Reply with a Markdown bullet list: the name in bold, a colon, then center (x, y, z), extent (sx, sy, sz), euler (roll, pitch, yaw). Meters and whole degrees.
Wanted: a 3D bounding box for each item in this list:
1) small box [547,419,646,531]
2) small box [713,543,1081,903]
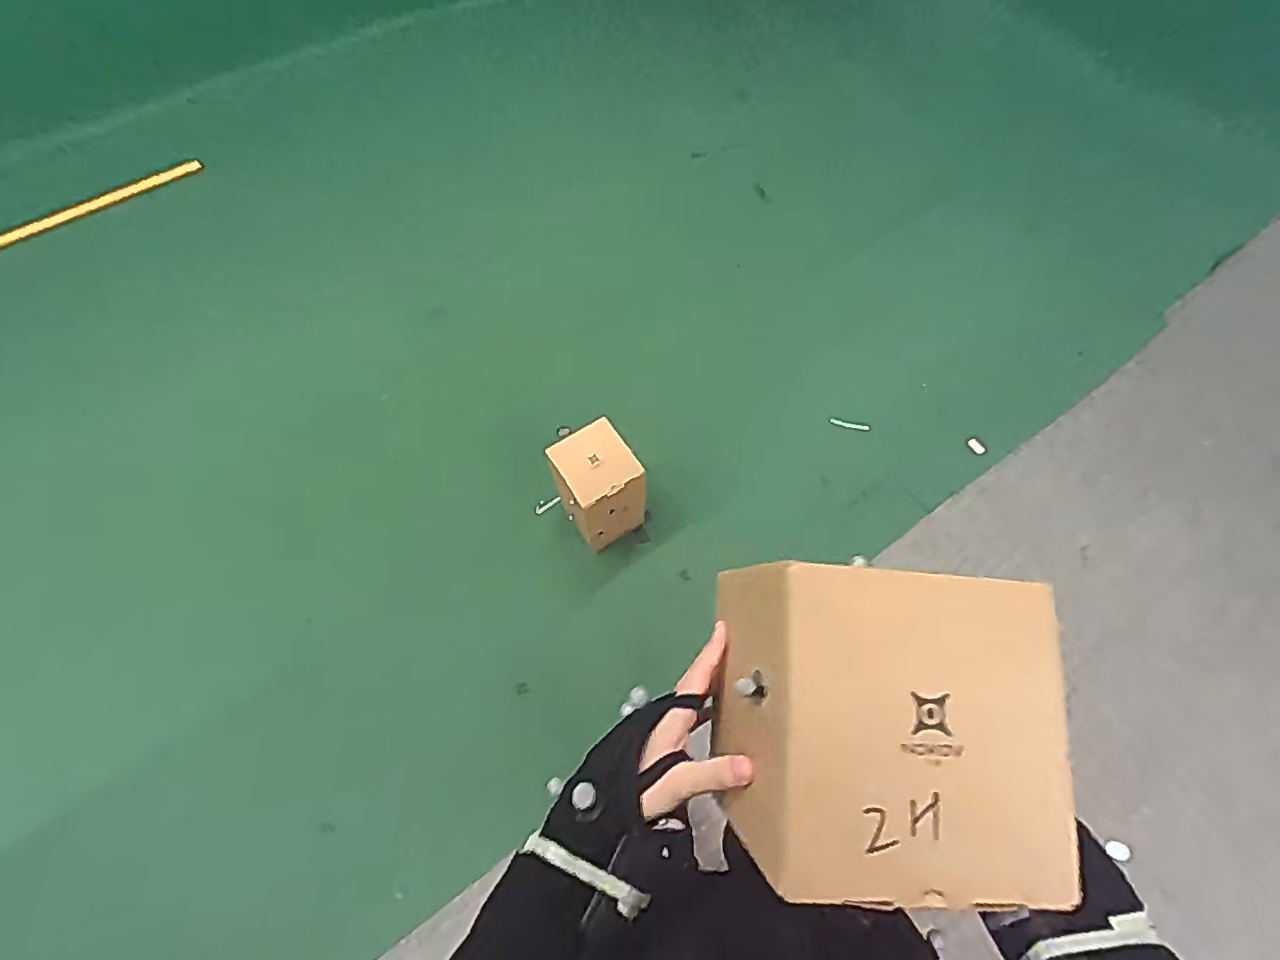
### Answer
- **small box**: center (-0.101, -0.007, 1.291), extent (0.168, 0.176, 0.179), euler (-31, 69, -14)
- **small box**: center (0.151, 0.147, 0.375), extent (0.168, 0.176, 0.179), euler (6, 77, -4)
